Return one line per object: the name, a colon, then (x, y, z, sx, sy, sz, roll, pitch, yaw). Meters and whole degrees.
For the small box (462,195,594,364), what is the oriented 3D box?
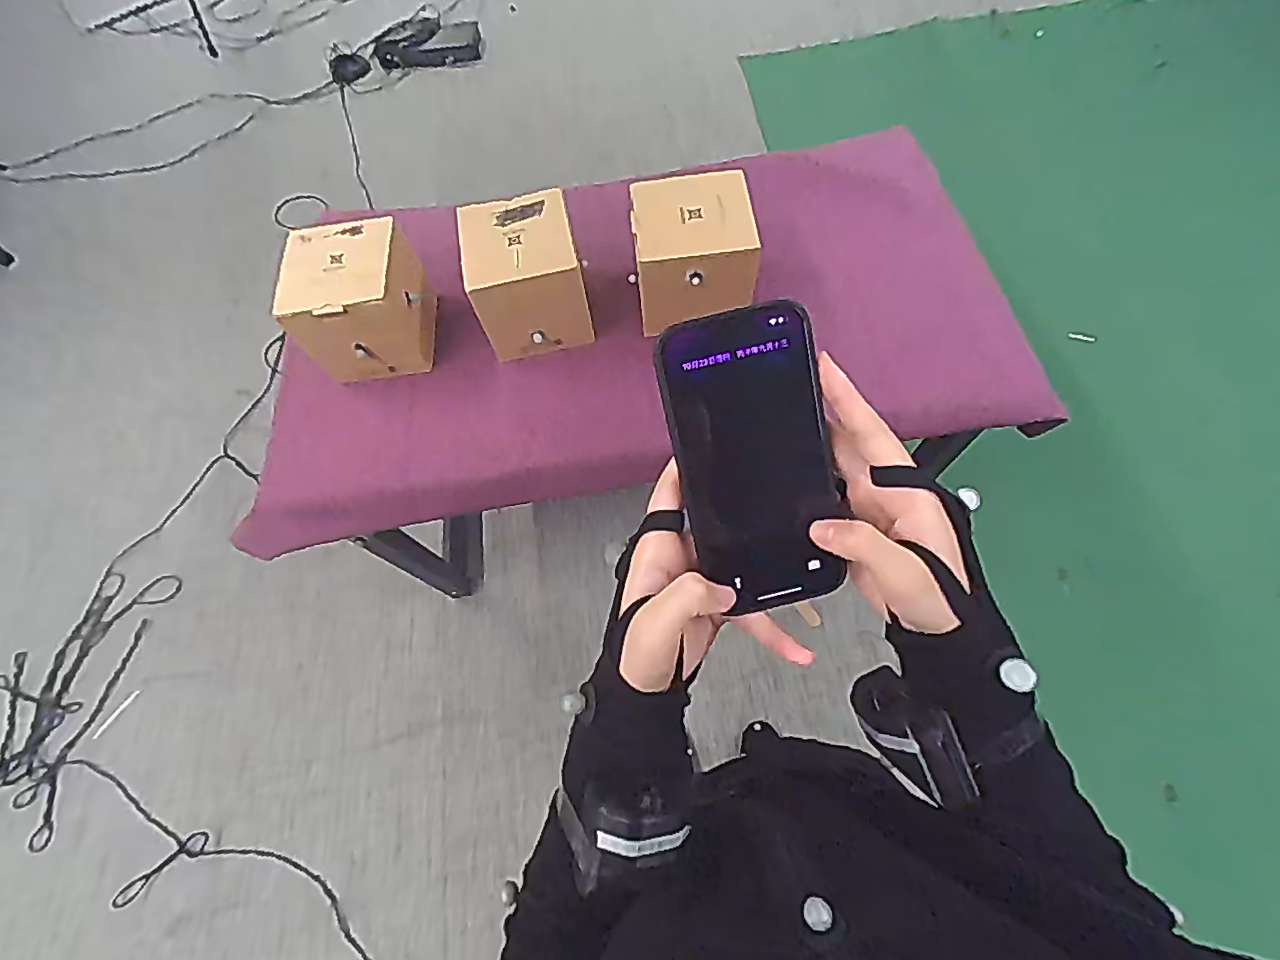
small box: (-0.176, -0.317, 0.875, 0.168, 0.176, 0.179, -12, 65, 0)

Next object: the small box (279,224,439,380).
small box: (-0.441, -0.278, 0.880, 0.168, 0.176, 0.179, -8, 65, 1)

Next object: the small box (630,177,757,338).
small box: (0.082, -0.347, 0.866, 0.179, 0.176, 0.168, -5, 65, 3)
